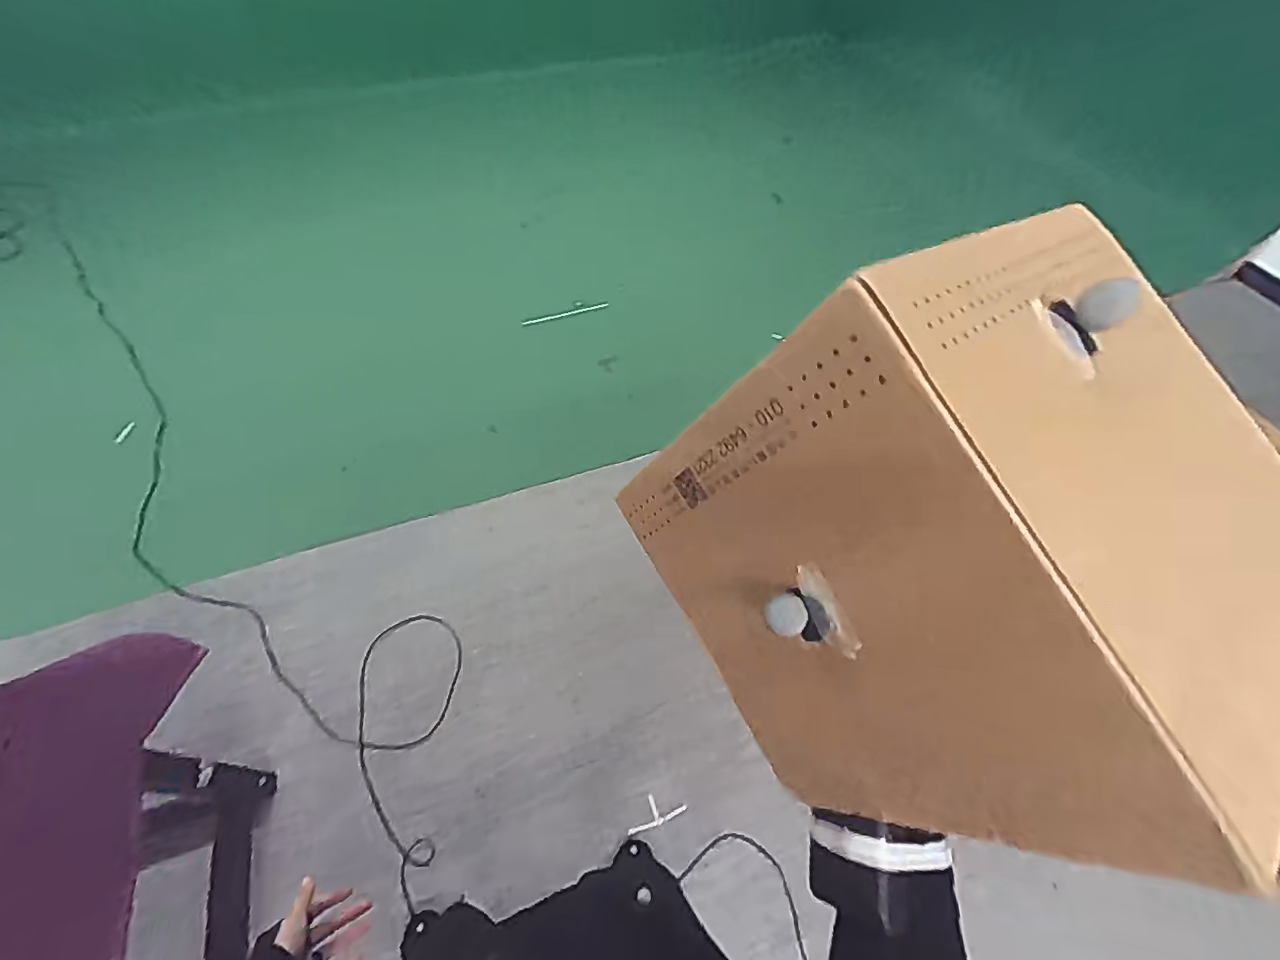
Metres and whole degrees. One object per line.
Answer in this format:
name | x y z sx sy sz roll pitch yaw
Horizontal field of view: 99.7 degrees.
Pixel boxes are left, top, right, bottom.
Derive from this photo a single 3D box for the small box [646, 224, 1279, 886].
small box | 0.131 0.017 0.239 0.179 0.168 0.176 -24 81 -31
